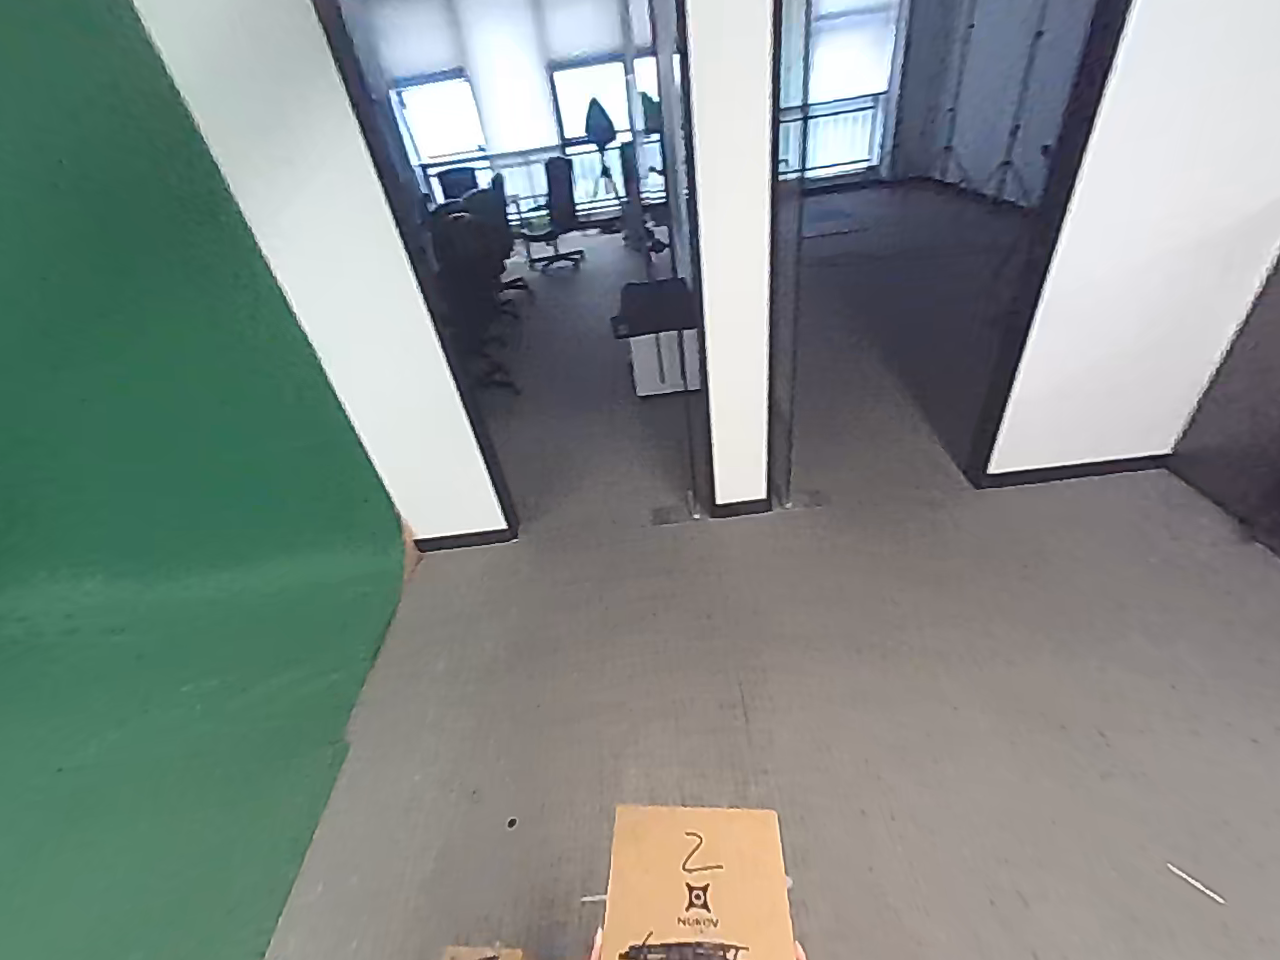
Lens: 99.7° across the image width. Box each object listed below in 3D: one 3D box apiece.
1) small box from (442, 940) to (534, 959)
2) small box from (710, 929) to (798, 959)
[{"bbox_3d":[-0.305,1.041,1.062,0.168,0.176,0.179,-3,39,8],"label":"small box"},{"bbox_3d":[0.215,0.989,1.020,0.168,0.176,0.179,-2,38,8],"label":"small box"}]
